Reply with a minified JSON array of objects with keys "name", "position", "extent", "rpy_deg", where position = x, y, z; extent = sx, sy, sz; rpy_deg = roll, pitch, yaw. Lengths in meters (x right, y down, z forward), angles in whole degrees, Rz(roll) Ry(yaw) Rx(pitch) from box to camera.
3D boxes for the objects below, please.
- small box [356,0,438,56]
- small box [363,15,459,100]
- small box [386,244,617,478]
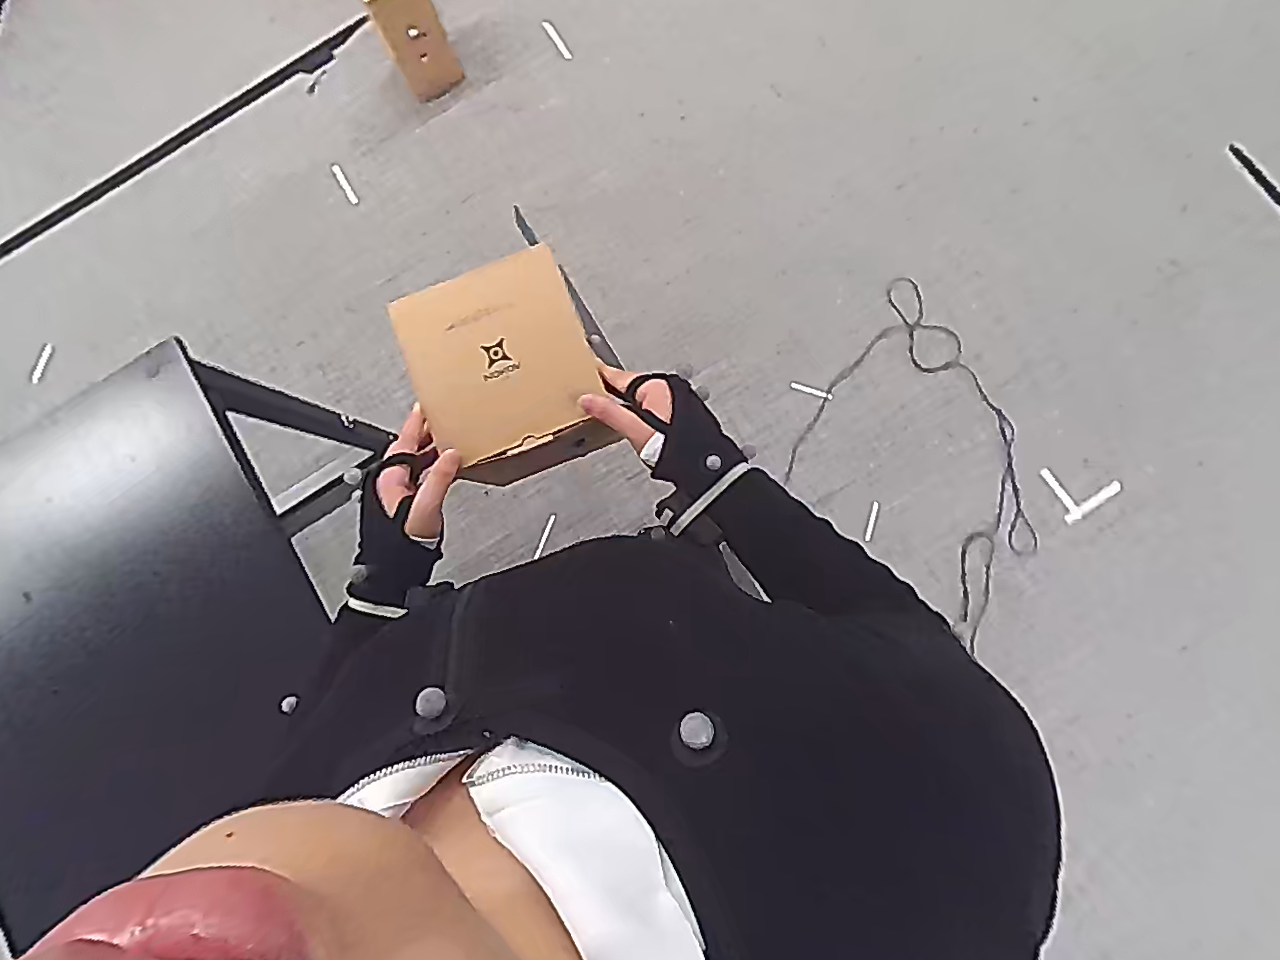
[{"name":"small box","position":[-0.678,-1.307,1.451],"extent":[0.168,0.176,0.179],"rpy_deg":[-31,85,-1]},{"name":"small box","position":[-0.677,-1.293,1.615],"extent":[0.179,0.176,0.168],"rpy_deg":[-31,84,-2]},{"name":"small box","position":[-0.130,-0.108,0.578],"extent":[0.168,0.176,0.179],"rpy_deg":[-21,85,-1]}]
